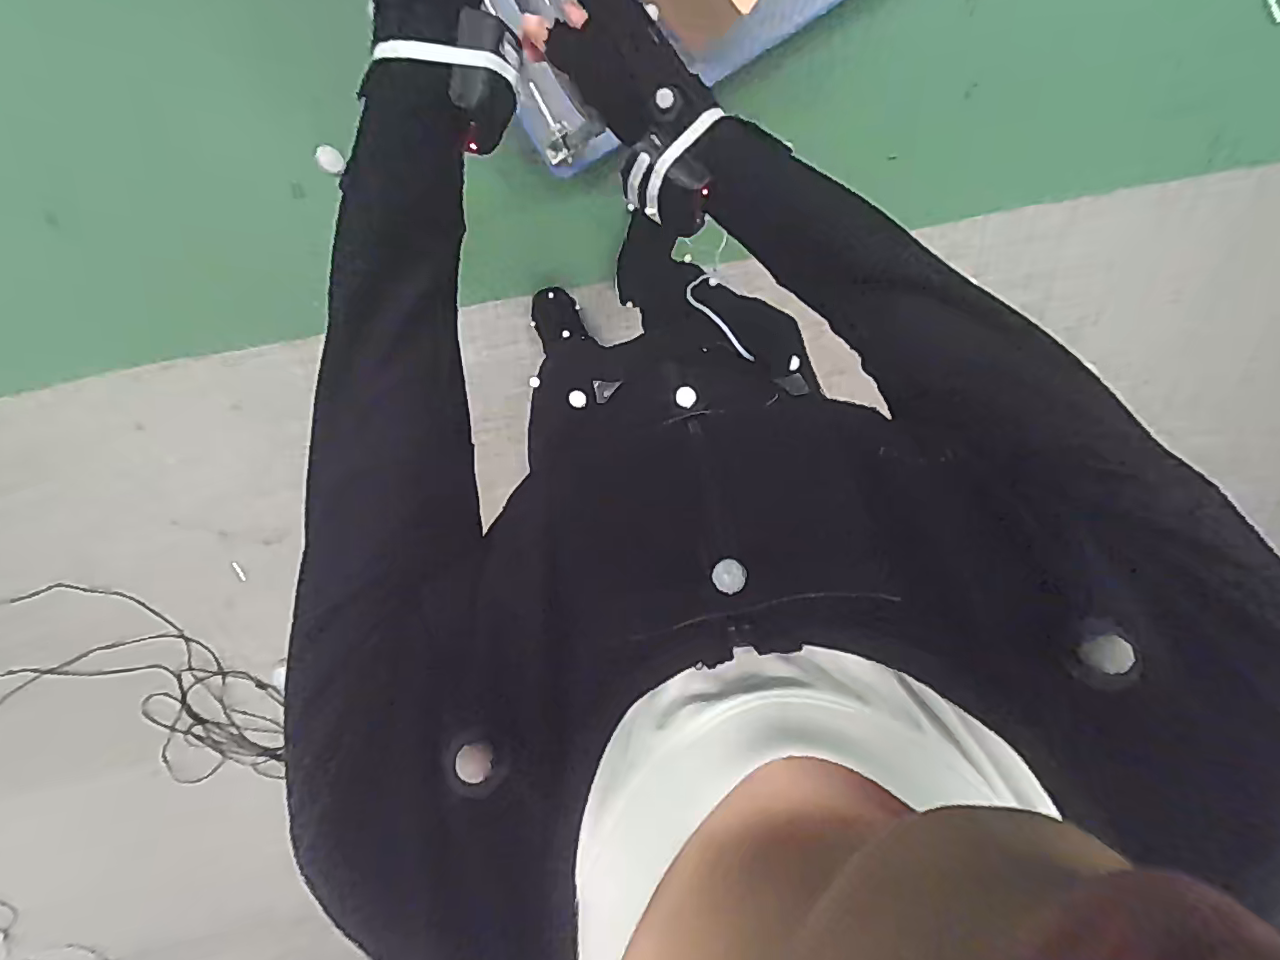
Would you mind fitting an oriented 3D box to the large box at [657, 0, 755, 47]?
[{"bbox_3d":[0.070,-0.901,0.717,0.408,0.320,0.320,34,110,-23],"label":"large box"}]
